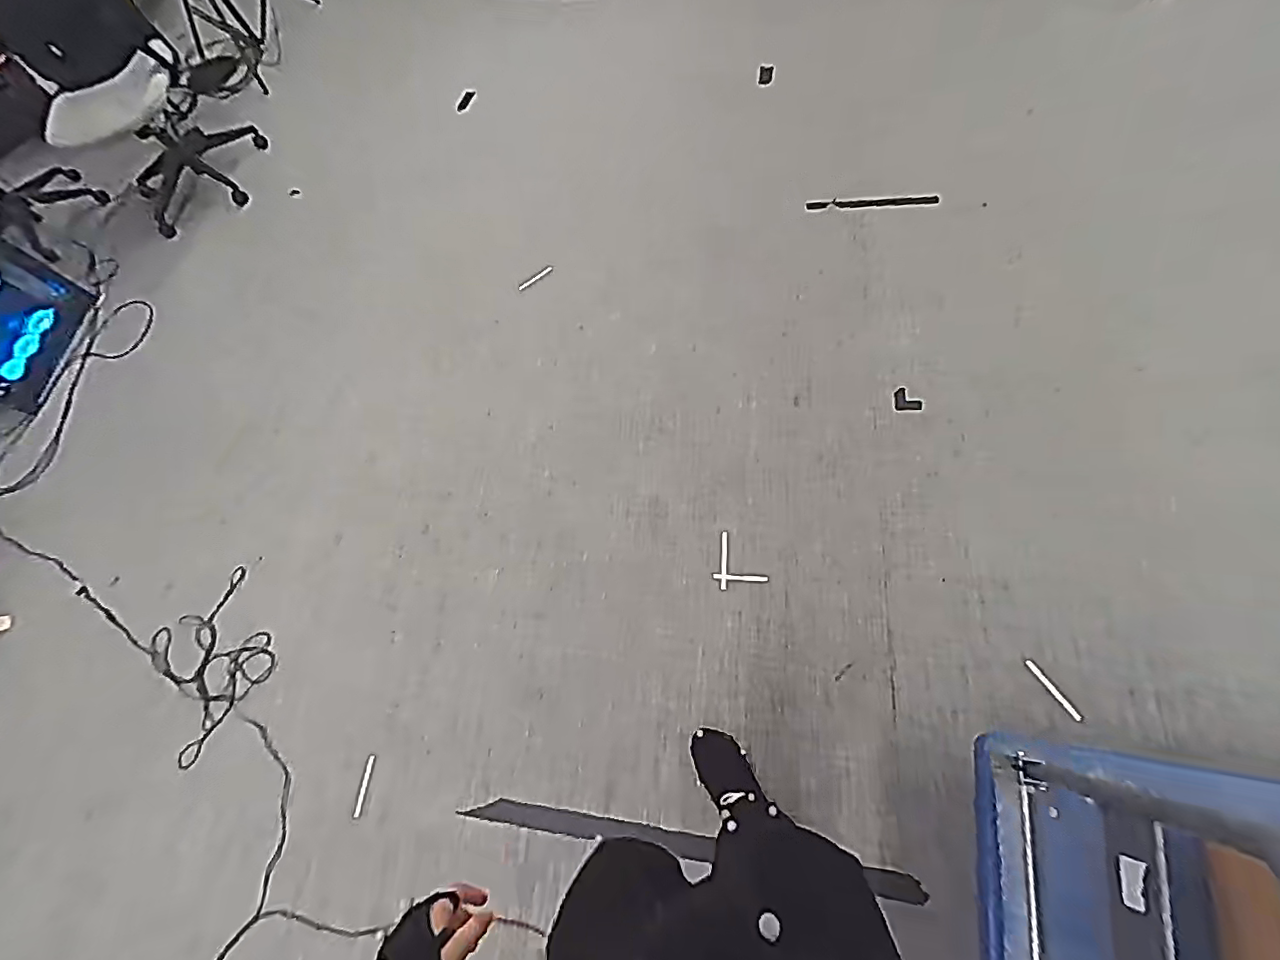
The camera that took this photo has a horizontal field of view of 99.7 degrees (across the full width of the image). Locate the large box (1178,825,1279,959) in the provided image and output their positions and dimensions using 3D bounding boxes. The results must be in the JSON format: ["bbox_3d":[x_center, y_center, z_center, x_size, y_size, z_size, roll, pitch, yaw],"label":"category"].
[{"bbox_3d":[1.008,0.731,0.694,0.320,0.320,0.408,5,69,14],"label":"large box"}]
